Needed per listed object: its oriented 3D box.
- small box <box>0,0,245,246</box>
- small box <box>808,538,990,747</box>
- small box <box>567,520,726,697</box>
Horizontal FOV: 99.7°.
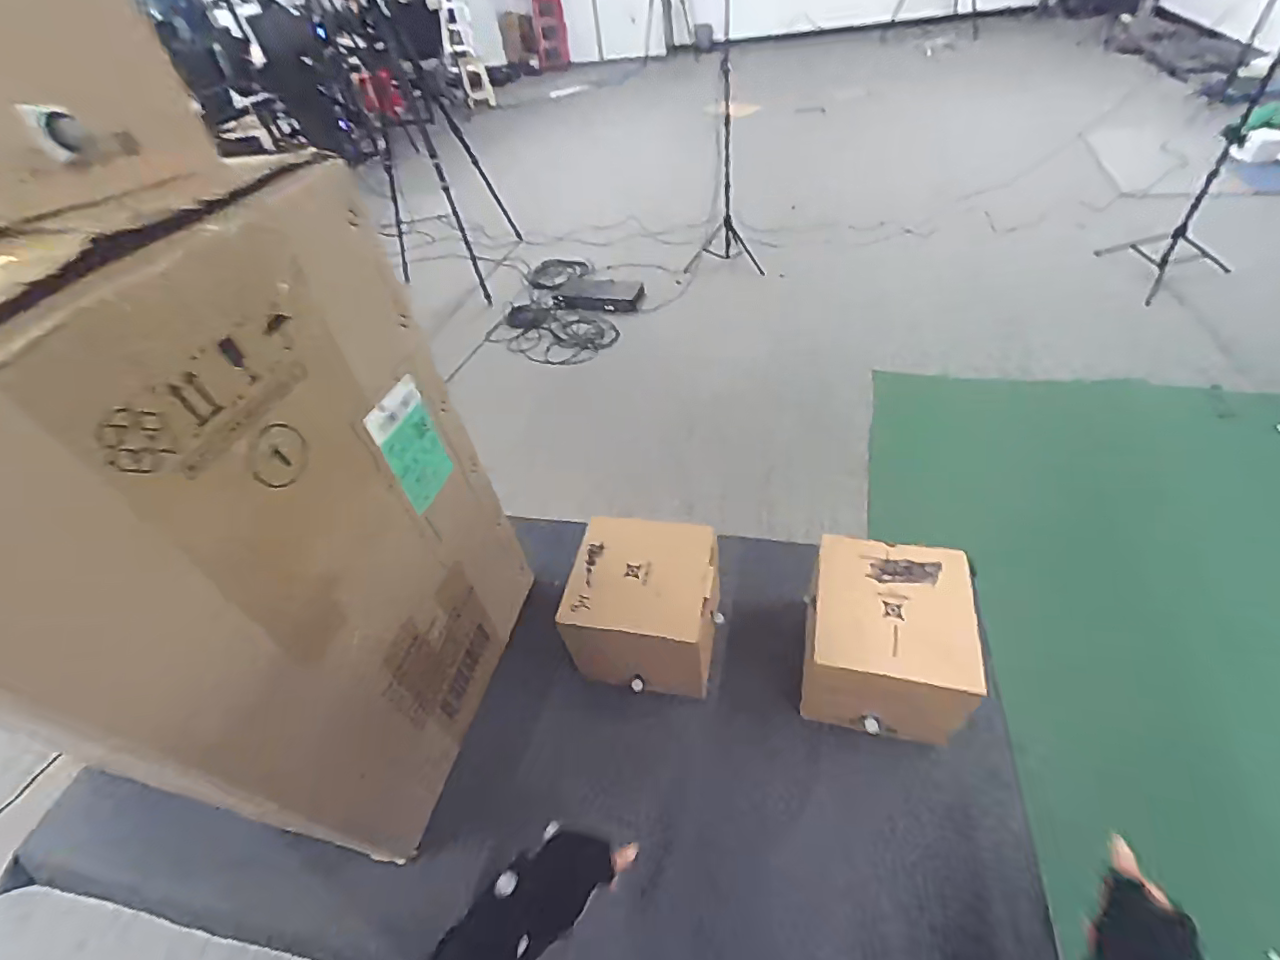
[{"bbox_3d":[-0.411,-0.254,0.334,0.179,0.176,0.168,7,43,14],"label":"small box"},{"bbox_3d":[0.303,0.199,0.670,0.168,0.176,0.179,6,49,16],"label":"small box"},{"bbox_3d":[0.020,0.178,0.741,0.179,0.176,0.168,5,48,13],"label":"small box"}]
